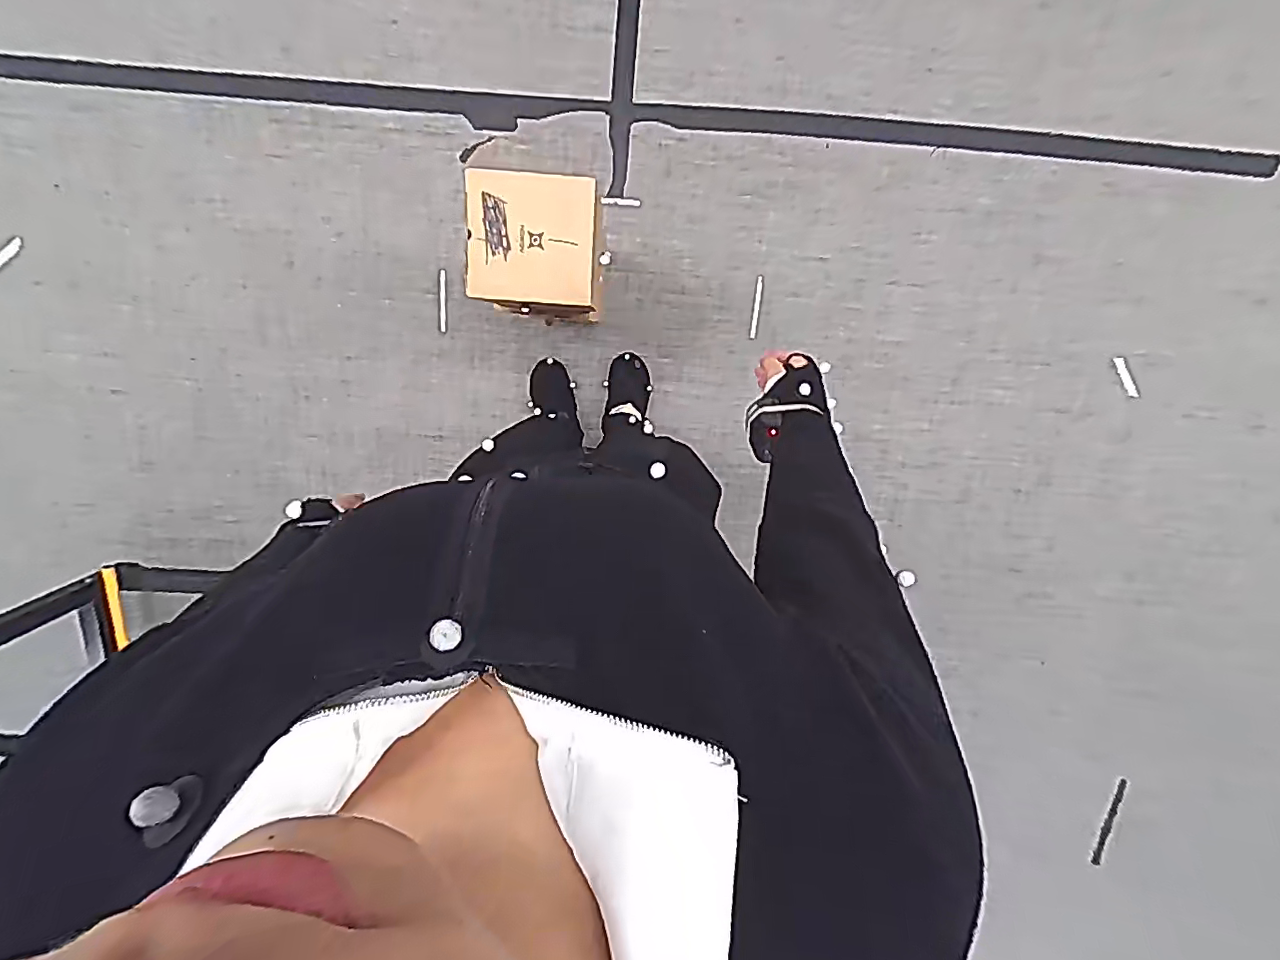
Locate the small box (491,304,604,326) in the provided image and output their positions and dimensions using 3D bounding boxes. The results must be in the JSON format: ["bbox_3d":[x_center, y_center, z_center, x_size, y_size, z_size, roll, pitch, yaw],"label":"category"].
[{"bbox_3d":[-0.141,-0.353,0.891,0.168,0.176,0.179,5,106,-2],"label":"small box"}]

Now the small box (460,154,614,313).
[{"bbox_3d":[-0.130,-0.318,0.729,0.179,0.176,0.168,3,106,-2],"label":"small box"}]
